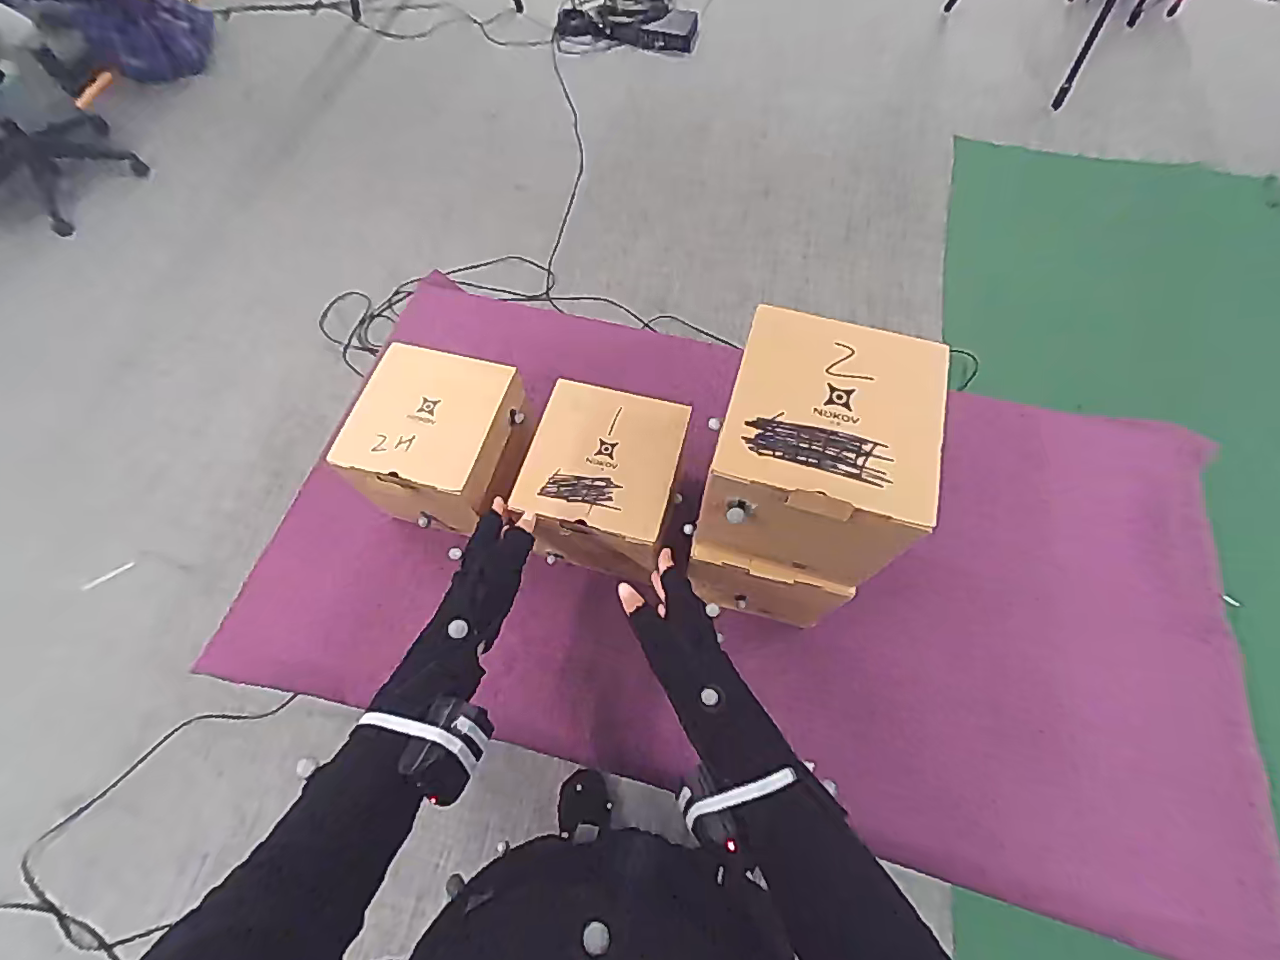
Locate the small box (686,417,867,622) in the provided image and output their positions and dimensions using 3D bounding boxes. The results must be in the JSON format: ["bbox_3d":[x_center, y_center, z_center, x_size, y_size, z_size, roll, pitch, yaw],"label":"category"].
[{"bbox_3d":[0.154,0.054,0.651,0.168,0.176,0.179,13,66,7],"label":"small box"}]

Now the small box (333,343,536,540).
[{"bbox_3d":[-0.246,-0.043,0.703,0.168,0.176,0.179,13,66,8],"label":"small box"}]
